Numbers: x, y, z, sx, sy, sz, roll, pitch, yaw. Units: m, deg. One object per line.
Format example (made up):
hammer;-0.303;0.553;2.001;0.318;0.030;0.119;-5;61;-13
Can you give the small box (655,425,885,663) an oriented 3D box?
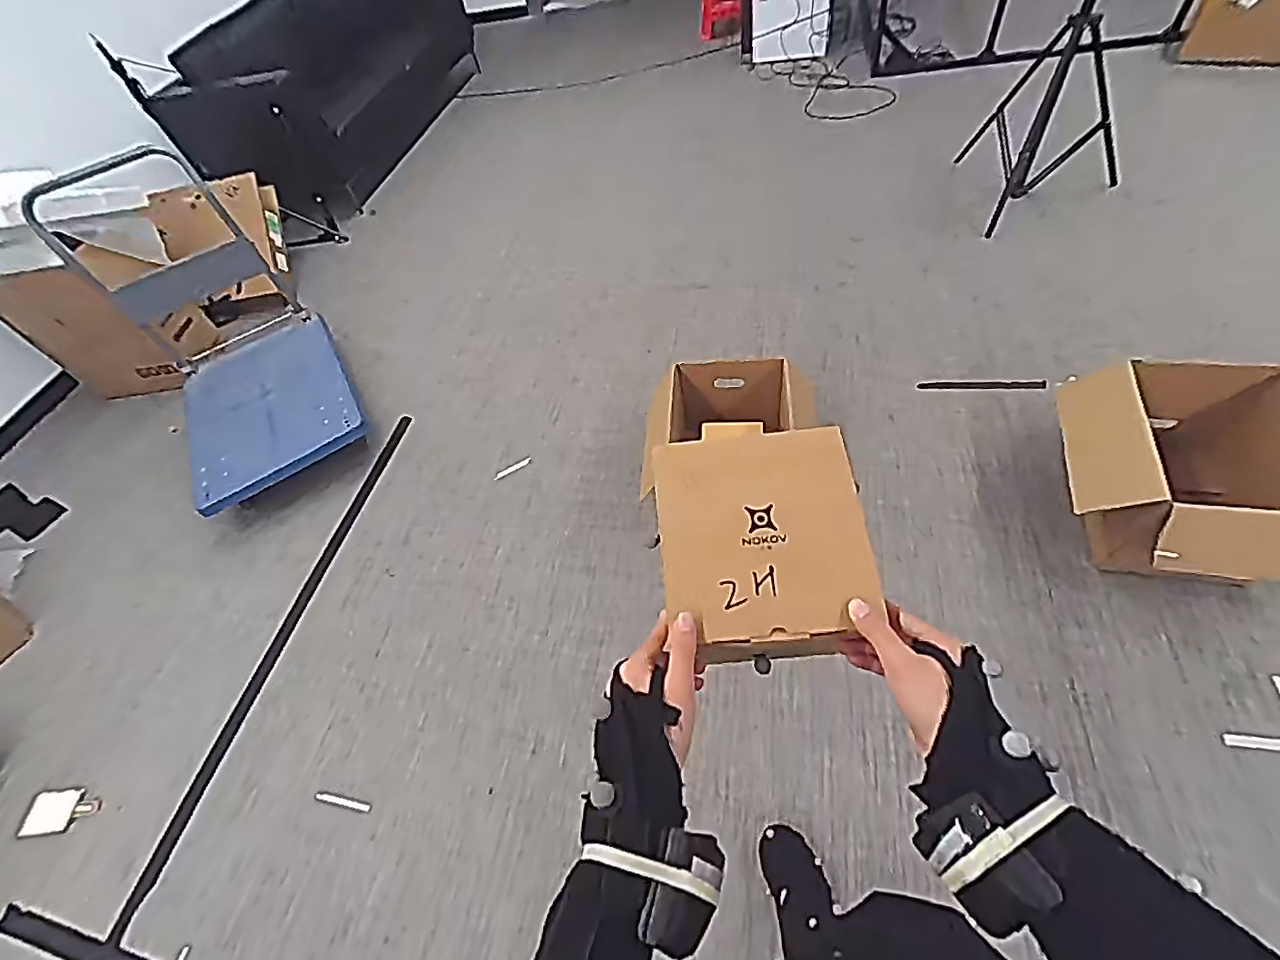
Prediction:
small box;0.103;0.069;0.513;0.168;0.176;0.179;-6;66;3
